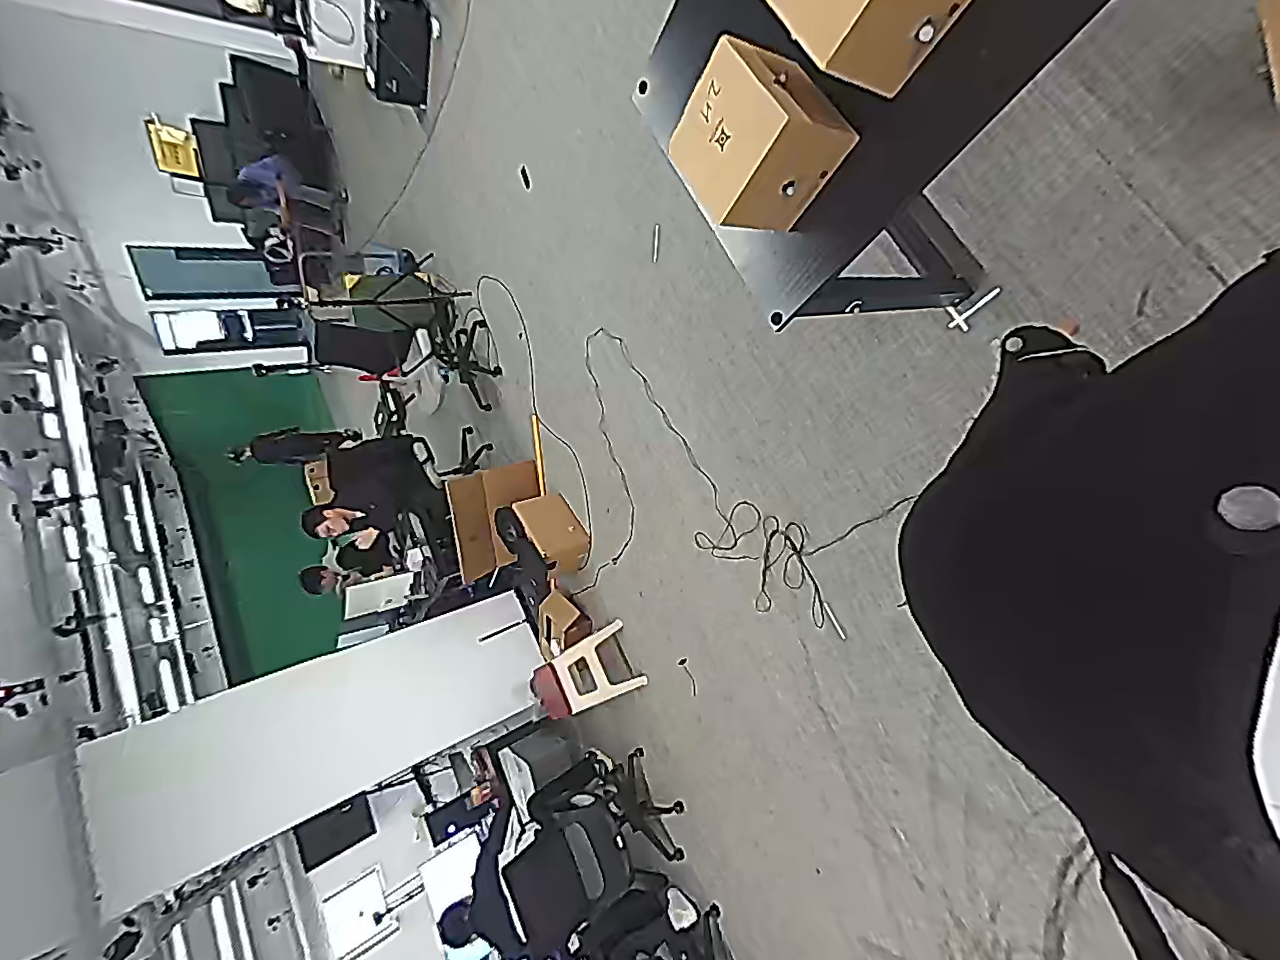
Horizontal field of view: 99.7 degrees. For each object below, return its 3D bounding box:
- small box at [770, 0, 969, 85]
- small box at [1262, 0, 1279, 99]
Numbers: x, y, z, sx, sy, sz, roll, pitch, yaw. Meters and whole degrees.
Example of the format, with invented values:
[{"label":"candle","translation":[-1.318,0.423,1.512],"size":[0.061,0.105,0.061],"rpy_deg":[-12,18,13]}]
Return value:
[{"label":"small box","translation":[0.275,-0.612,0.641],"size":[0.168,0.176,0.179],"rpy_deg":[-46,66,51]},{"label":"small box","translation":[1.070,-0.686,0.797],"size":[0.179,0.176,0.168],"rpy_deg":[-10,94,55]}]
